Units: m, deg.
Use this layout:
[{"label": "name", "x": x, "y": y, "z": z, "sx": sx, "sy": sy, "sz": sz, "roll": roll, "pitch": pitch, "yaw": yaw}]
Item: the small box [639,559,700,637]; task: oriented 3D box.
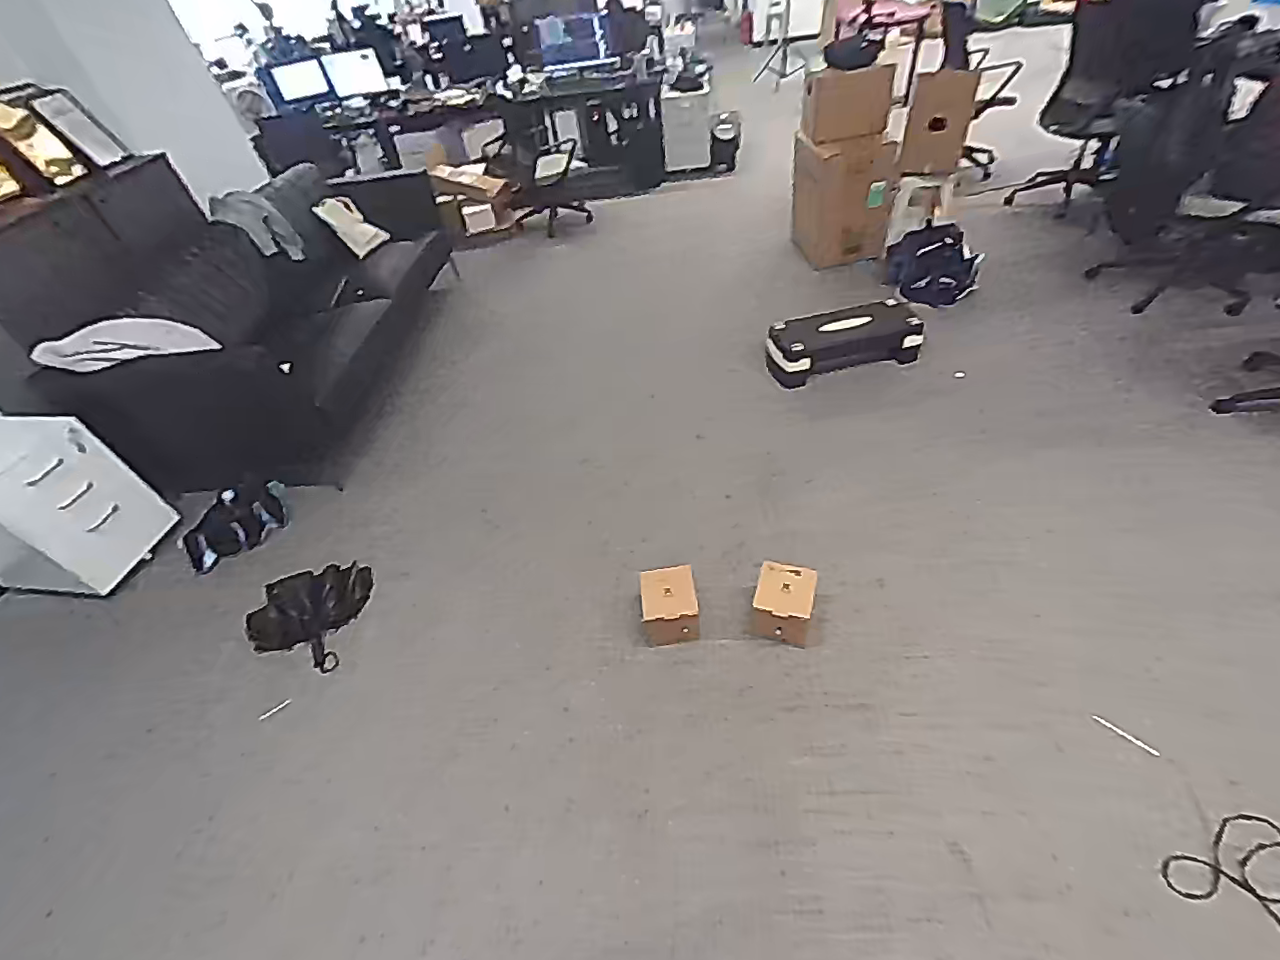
[{"label": "small box", "x": 0.095, "y": 0.377, "z": 1.702, "sx": 0.168, "sy": 0.176, "sz": 0.179, "roll": -9, "pitch": 44, "yaw": 1}]

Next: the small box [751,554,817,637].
[{"label": "small box", "x": 0.441, "y": 0.356, "z": 1.654, "sx": 0.168, "sy": 0.176, "sz": 0.179, "roll": 9, "pitch": 49, "yaw": 19}]
